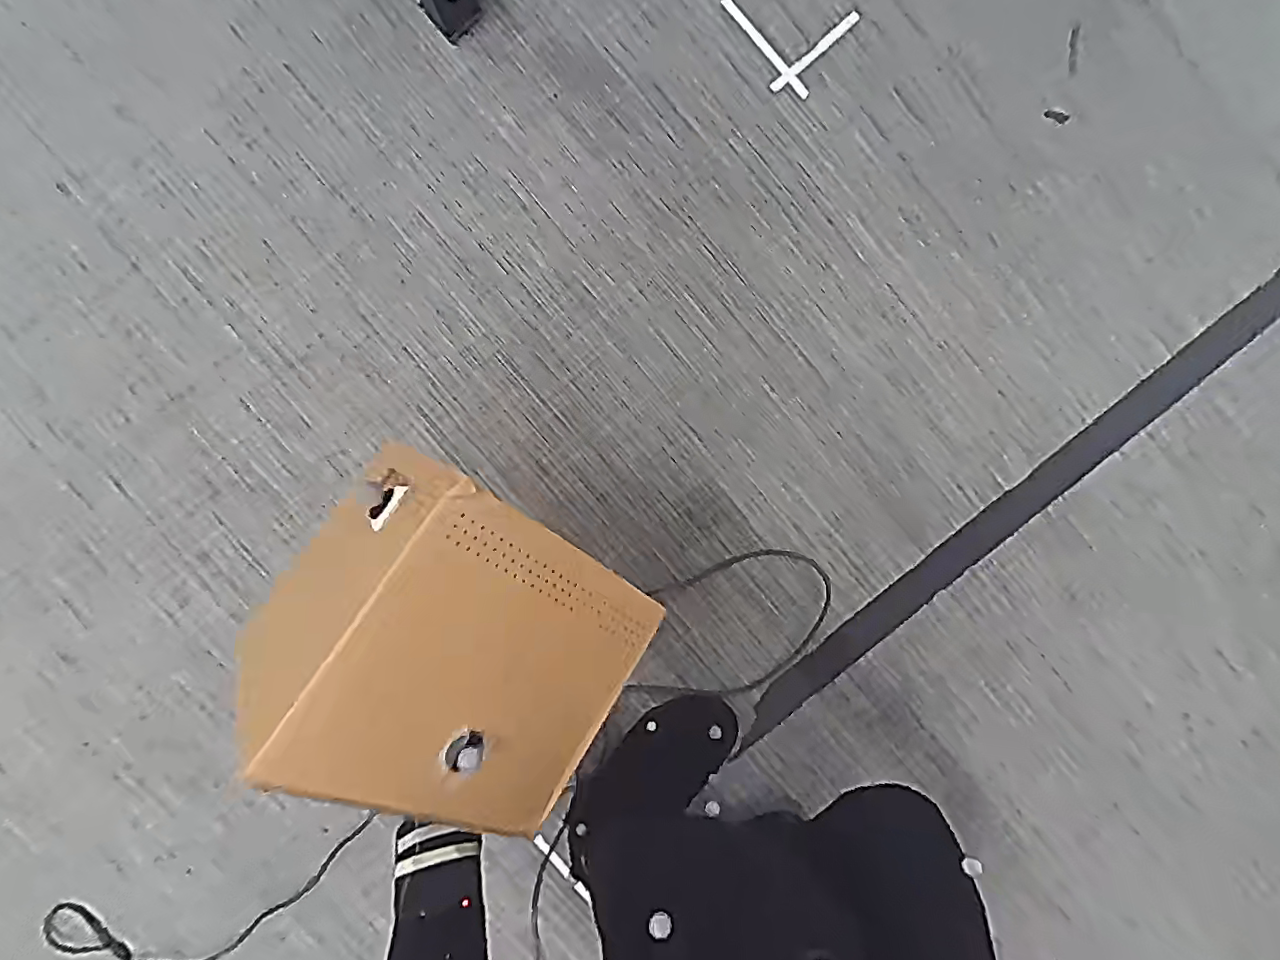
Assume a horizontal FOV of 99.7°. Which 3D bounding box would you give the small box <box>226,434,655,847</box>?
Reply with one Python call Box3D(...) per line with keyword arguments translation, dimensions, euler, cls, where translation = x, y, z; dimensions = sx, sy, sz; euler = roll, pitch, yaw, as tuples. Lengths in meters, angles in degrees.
Box3D(translation=(-0.122, 0.092, 0.355), dimensions=(0.179, 0.168, 0.176), euler=(40, 76, -33), cls="small box")
